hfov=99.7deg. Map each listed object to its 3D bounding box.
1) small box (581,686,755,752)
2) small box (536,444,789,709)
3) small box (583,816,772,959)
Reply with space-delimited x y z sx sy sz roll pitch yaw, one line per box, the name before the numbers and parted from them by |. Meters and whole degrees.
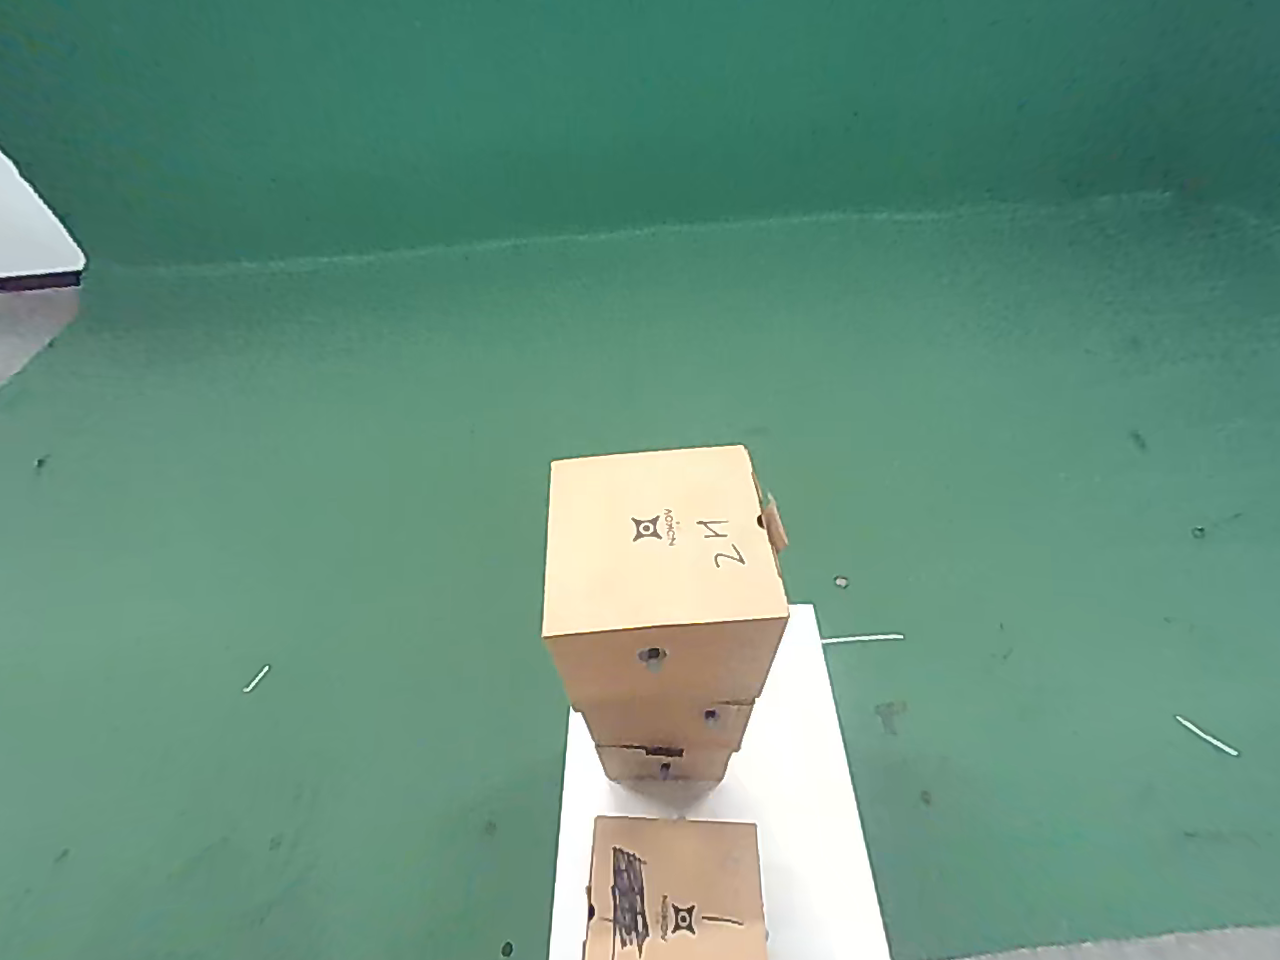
small box | 0.028 0.192 0.603 0.179 0.176 0.168 1 49 4
small box | 0.015 0.089 0.475 0.179 0.176 0.168 -4 51 -1
small box | 0.039 0.472 0.573 0.179 0.176 0.168 1 48 3
